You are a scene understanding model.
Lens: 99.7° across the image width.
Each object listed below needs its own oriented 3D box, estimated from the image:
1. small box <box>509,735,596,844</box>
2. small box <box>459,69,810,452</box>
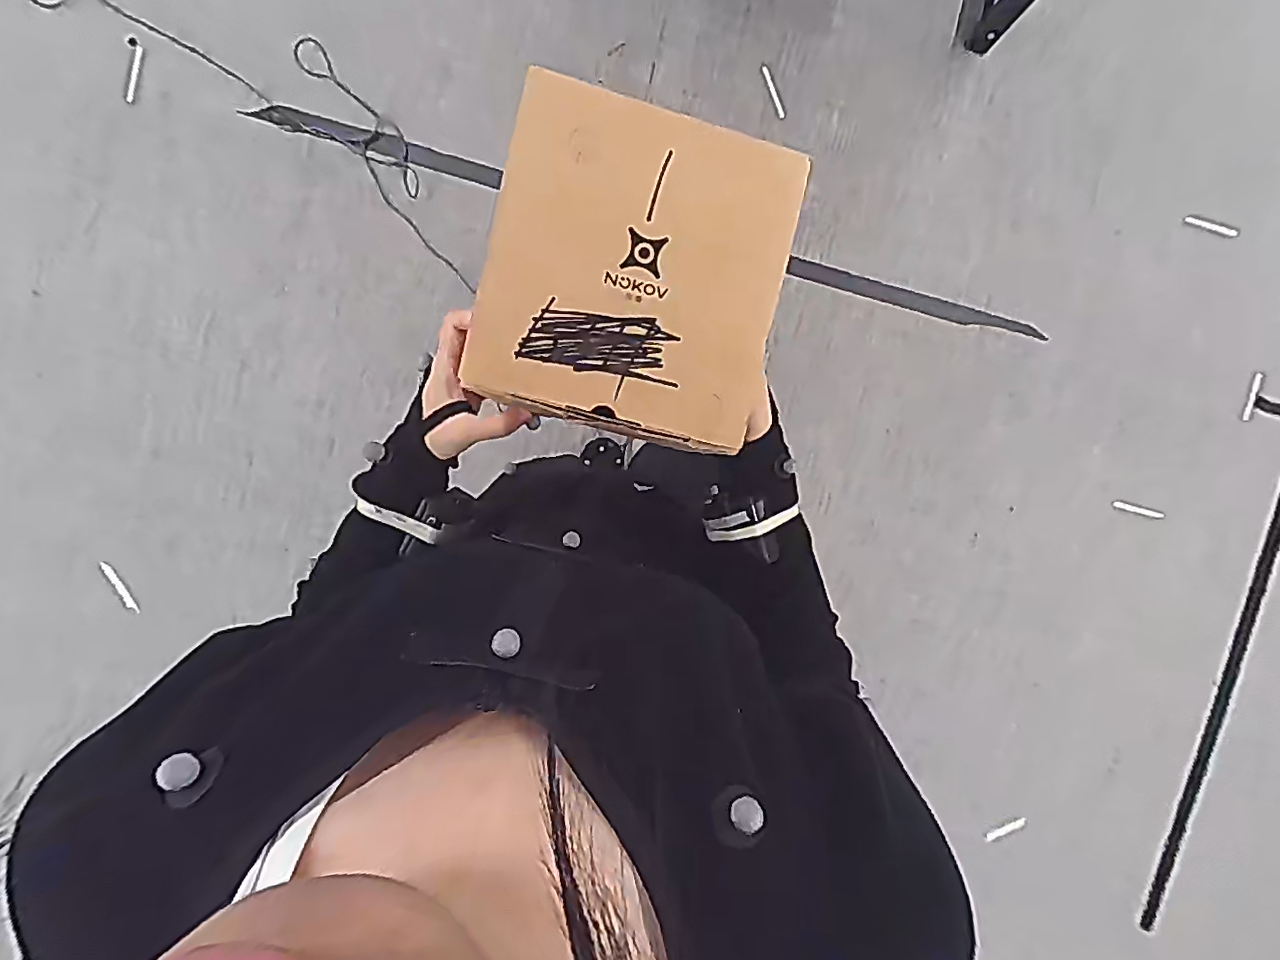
[{"bbox_3d":[-0.227,0.817,1.447,0.179,0.176,0.168,22,92,-5],"label":"small box"},{"bbox_3d":[-0.009,-0.123,0.380,0.168,0.176,0.179,14,92,-7],"label":"small box"}]
